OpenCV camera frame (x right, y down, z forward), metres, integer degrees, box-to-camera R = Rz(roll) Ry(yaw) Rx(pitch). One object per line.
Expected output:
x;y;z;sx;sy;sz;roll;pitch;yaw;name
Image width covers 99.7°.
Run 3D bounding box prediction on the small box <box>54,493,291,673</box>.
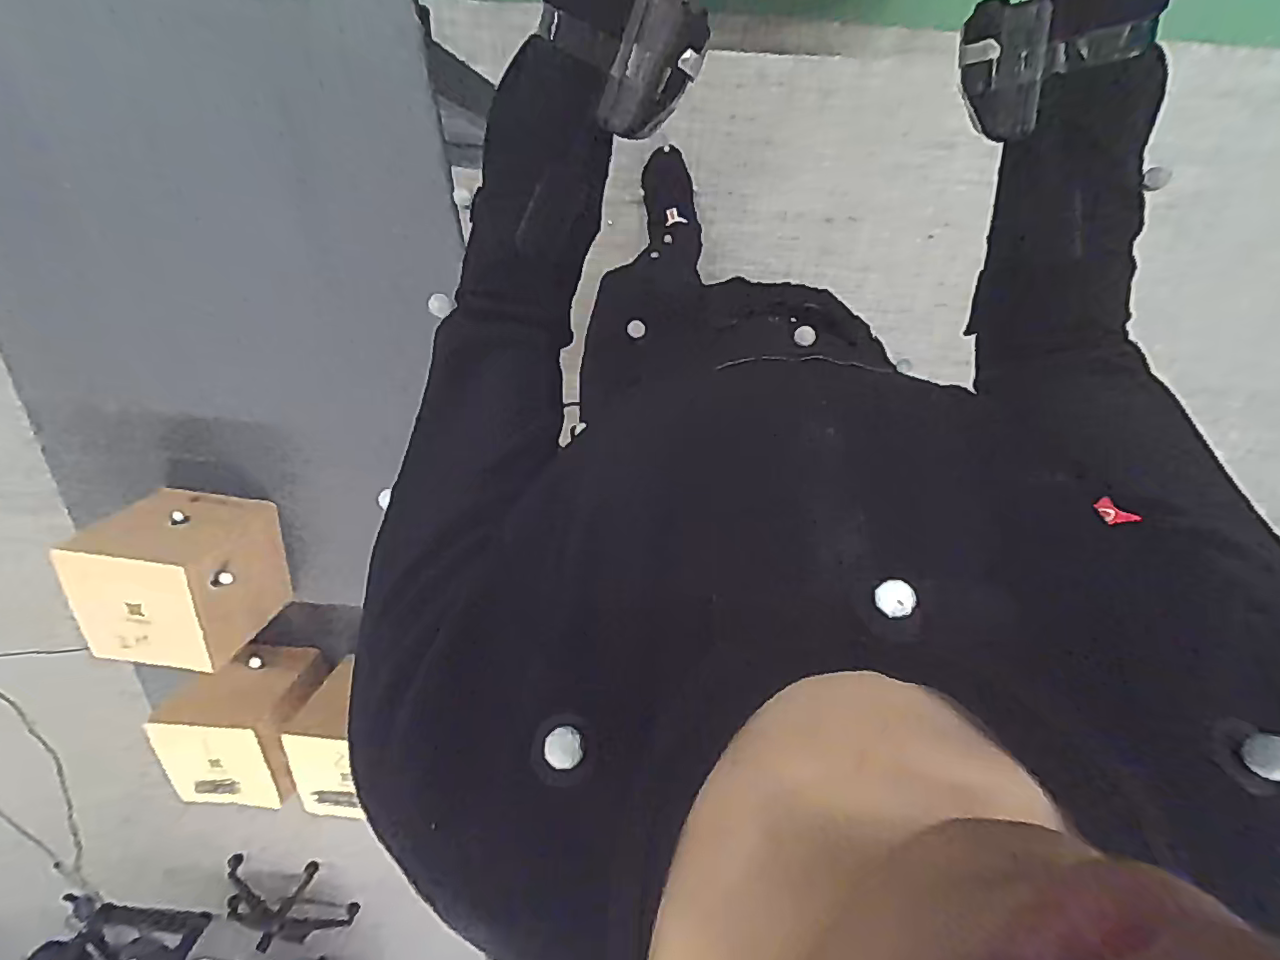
-0.627;0.134;0.754;0.168;0.176;0.179;8;115;1;small box
